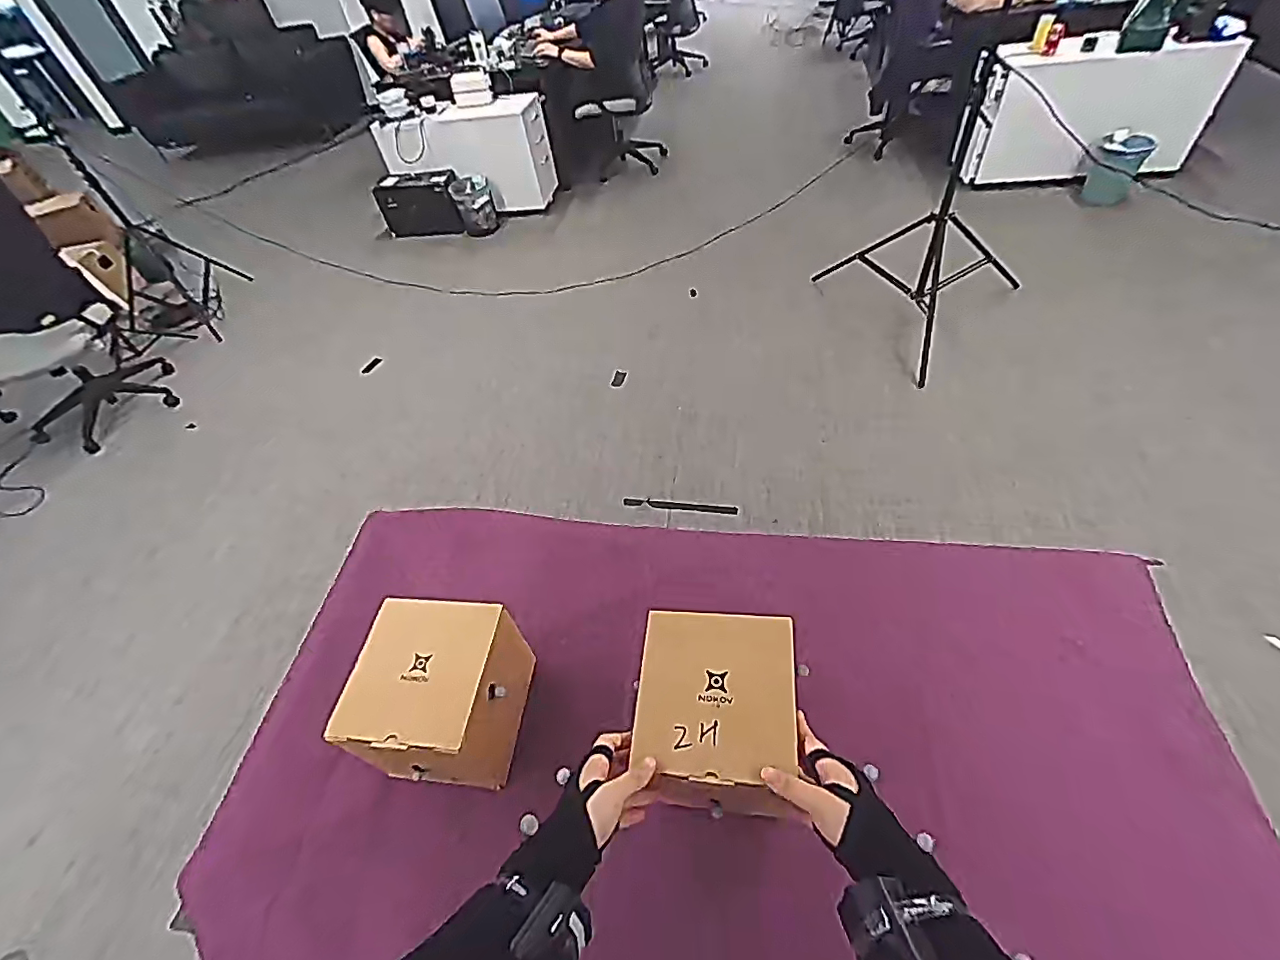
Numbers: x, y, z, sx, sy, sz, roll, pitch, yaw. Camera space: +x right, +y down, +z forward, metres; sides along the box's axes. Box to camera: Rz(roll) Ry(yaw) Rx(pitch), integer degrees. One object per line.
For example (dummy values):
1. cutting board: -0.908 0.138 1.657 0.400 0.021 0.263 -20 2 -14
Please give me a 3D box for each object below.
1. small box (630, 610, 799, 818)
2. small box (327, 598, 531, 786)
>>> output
1. small box: 0.093 0.273 0.632 0.168 0.176 0.179 0 51 13
2. small box: -0.252 0.274 0.701 0.168 0.176 0.179 1 50 9
